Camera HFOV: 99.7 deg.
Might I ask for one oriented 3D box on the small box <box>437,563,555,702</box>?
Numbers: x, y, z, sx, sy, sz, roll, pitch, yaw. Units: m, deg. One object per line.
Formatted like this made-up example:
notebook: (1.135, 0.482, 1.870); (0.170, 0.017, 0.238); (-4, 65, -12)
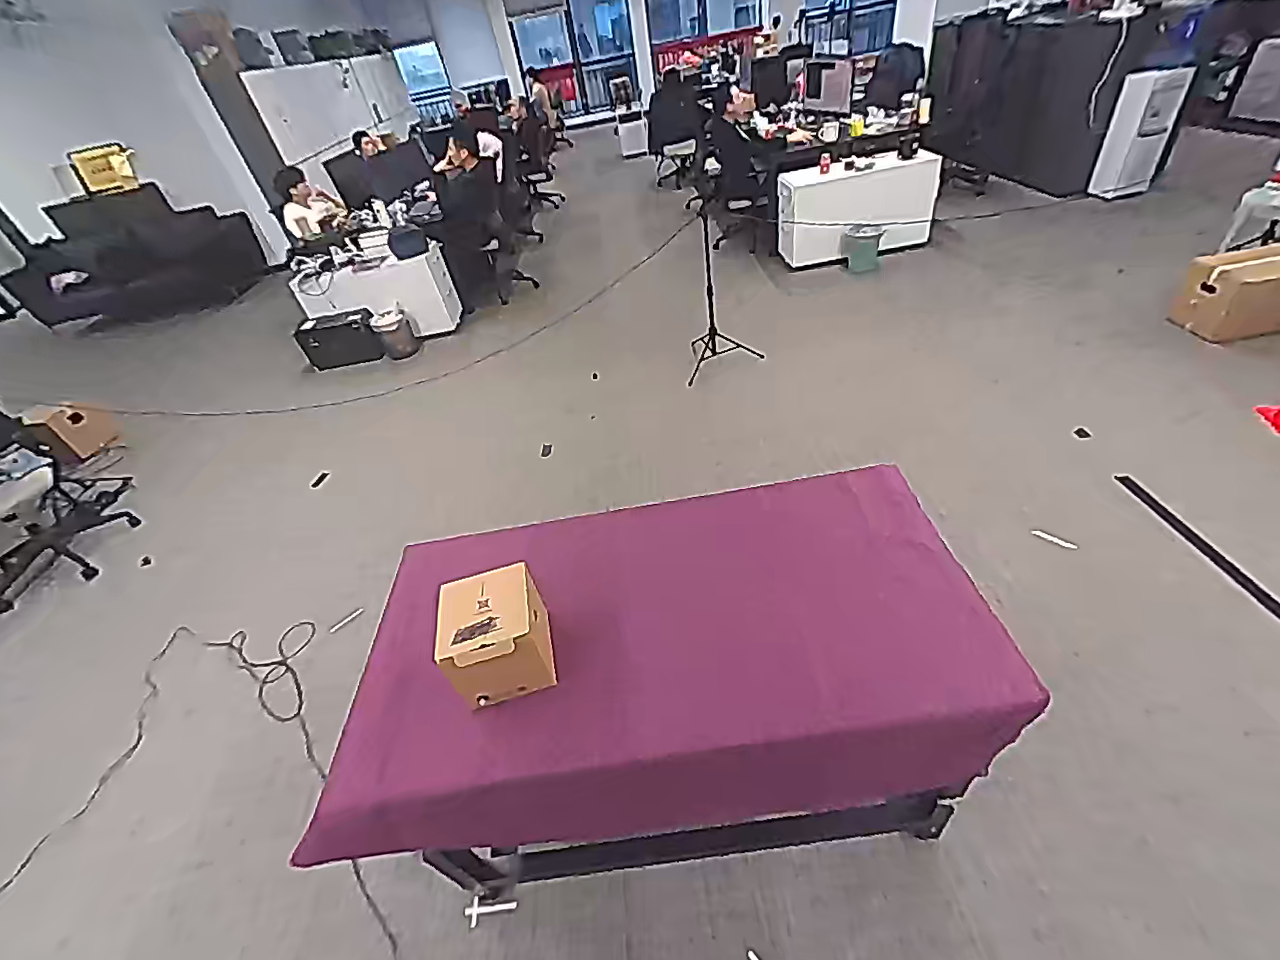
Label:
small box: (-0.263, 0.291, 1.011); (0.168, 0.176, 0.179); (-15, 39, -5)
